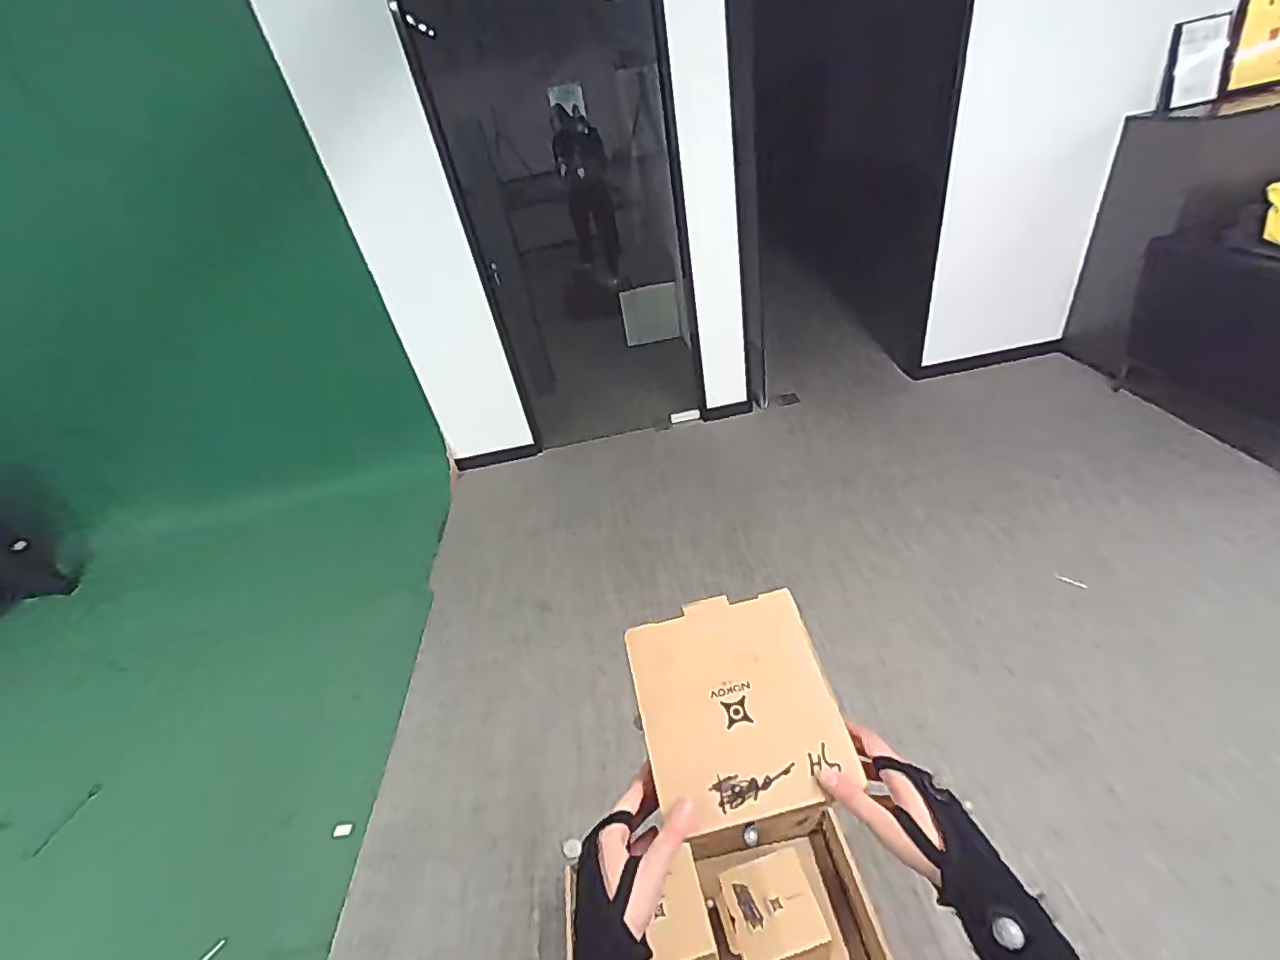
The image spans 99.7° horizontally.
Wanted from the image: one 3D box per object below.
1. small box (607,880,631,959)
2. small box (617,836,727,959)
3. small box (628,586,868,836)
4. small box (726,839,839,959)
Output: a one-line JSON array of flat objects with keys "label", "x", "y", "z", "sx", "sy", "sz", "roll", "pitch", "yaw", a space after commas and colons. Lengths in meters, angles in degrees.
[{"label": "small box", "x": 0.039, "y": 0.951, "z": 1.139, "sx": 0.179, "sy": 0.176, "sz": 0.168, "roll": -13, "pitch": 37, "yaw": -3}, {"label": "small box", "x": 0.062, "y": 0.823, "z": 1.028, "sx": 0.168, "sy": 0.176, "sz": 0.179, "roll": -14, "pitch": 38, "yaw": -5}, {"label": "small box", "x": 0.094, "y": 0.233, "z": 0.536, "sx": 0.168, "sy": 0.176, "sz": 0.179, "roll": -16, "pitch": 56, "yaw": 0}, {"label": "small box", "x": 0.297, "y": 0.898, "z": 1.131, "sx": 0.179, "sy": 0.176, "sz": 0.168, "roll": -17, "pitch": 37, "yaw": -5}]
